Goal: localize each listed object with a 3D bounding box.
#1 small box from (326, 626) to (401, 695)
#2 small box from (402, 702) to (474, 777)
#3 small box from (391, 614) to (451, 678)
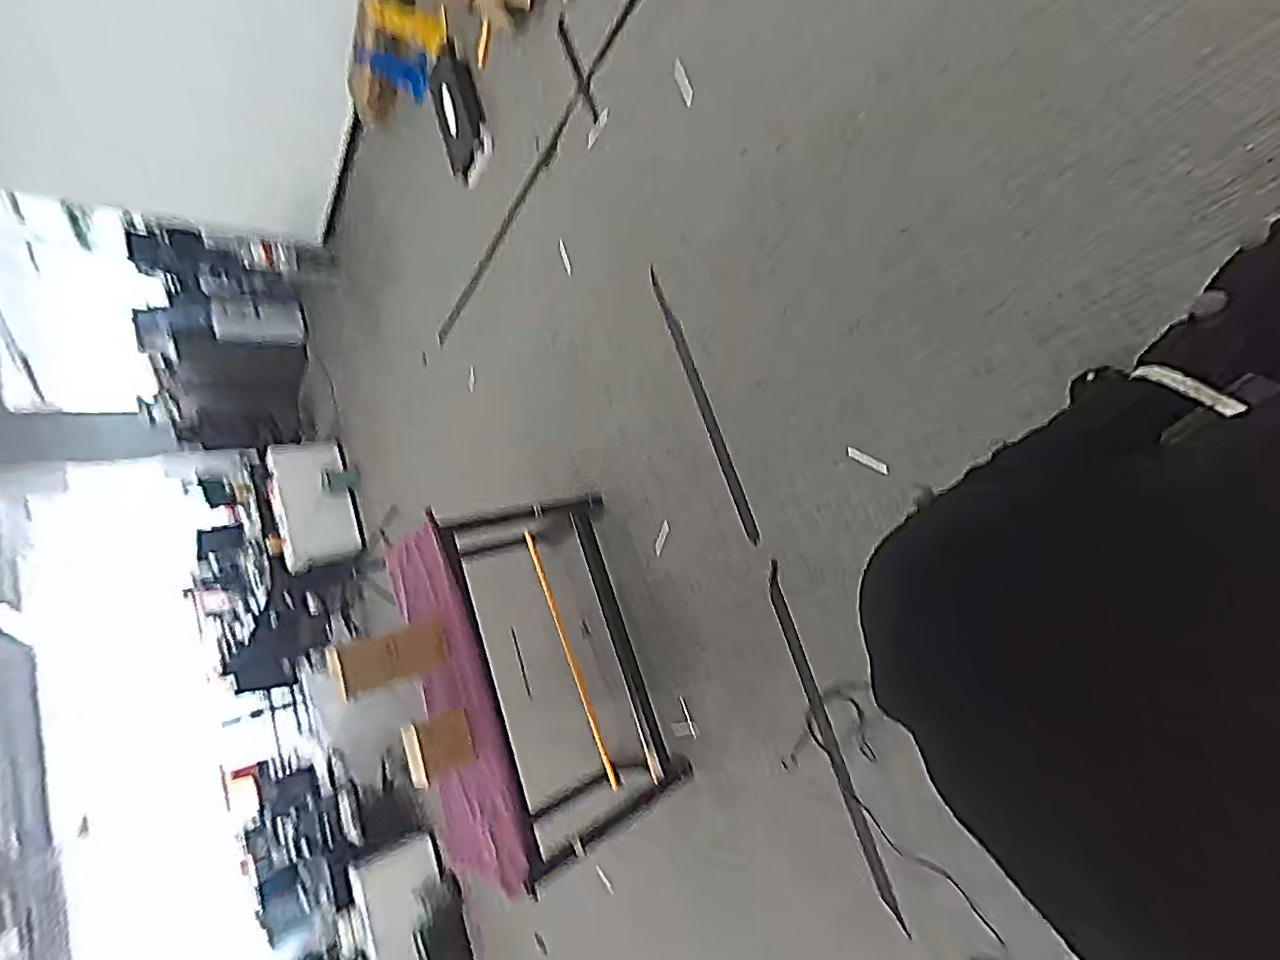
[{"bbox_3d":[-0.900,0.589,1.763,0.179,0.176,0.168,-29,77,46],"label":"small box"},{"bbox_3d":[-0.673,0.864,1.811,0.168,0.176,0.179,-31,73,47],"label":"small box"},{"bbox_3d":[-0.777,0.574,1.872,0.179,0.176,0.168,-28,76,46],"label":"small box"}]
